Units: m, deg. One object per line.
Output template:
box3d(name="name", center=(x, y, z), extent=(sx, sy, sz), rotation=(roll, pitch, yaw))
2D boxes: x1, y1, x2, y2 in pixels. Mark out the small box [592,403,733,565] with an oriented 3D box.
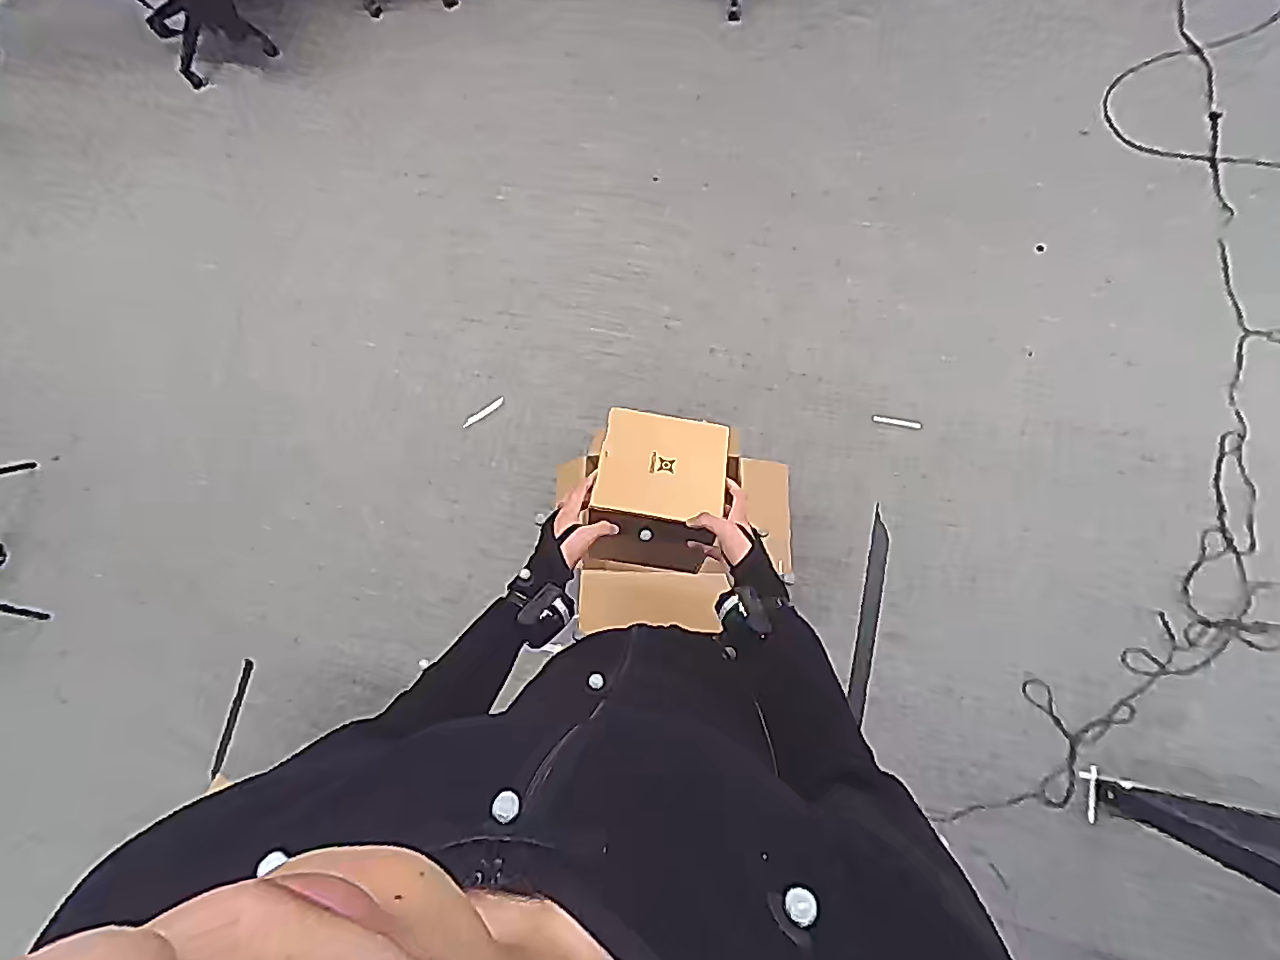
box3d(name="small box", center=(0.029, 0.014, 0.793), extent=(0.179, 0.176, 0.168), rotation=(8, 59, 0))
